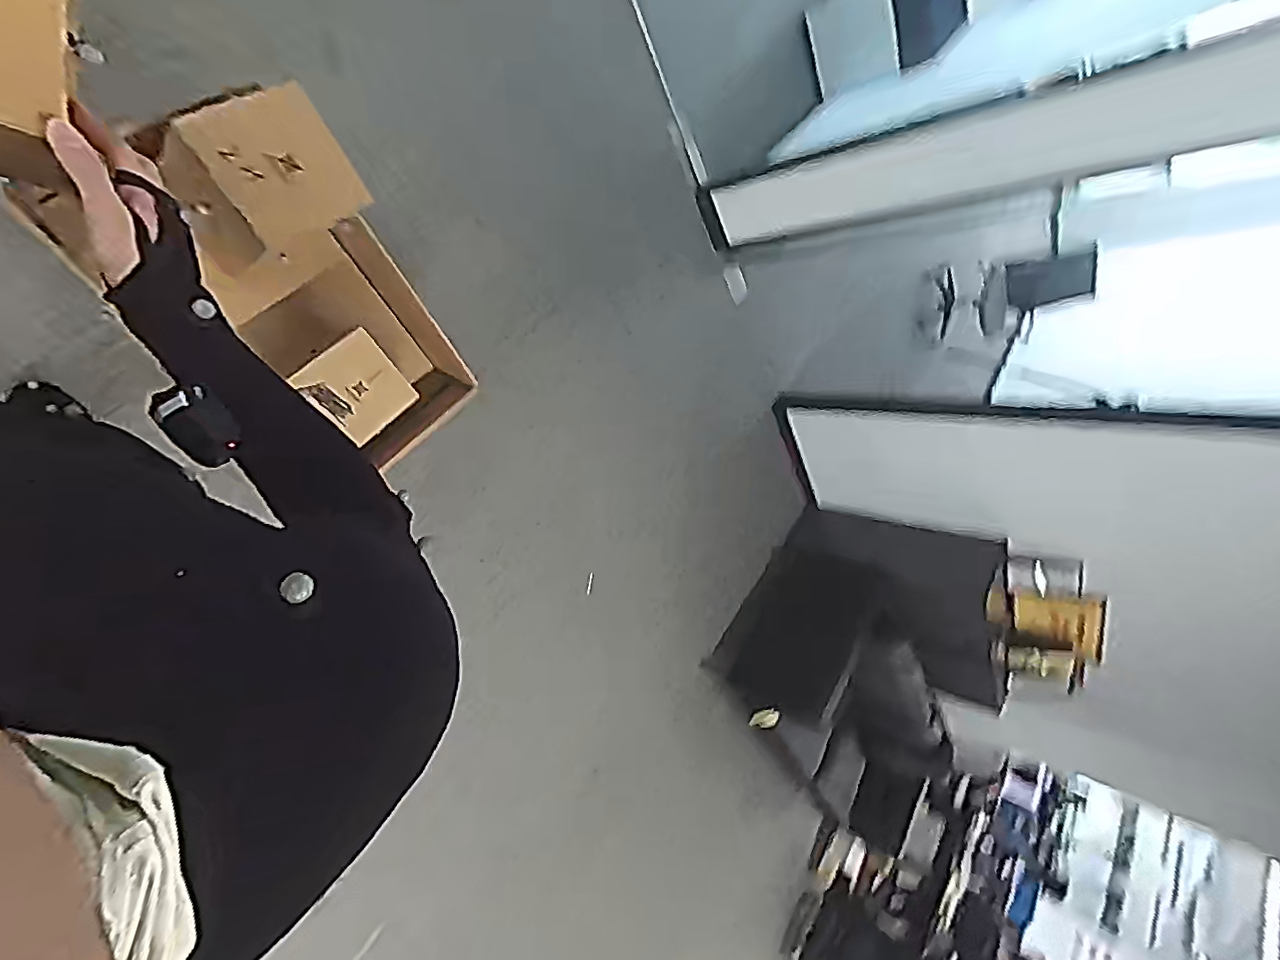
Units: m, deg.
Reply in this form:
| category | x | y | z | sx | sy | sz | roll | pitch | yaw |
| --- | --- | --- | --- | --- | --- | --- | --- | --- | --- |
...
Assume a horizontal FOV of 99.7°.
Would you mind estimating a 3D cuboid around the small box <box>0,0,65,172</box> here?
| category | x | y | z | sx | sy | sz | roll | pitch | yaw |
| --- | --- | --- | --- | --- | --- | --- | --- | --- | --- |
| small box | -0.508 | -0.341 | 0.362 | 0.168 | 0.176 | 0.179 | 0 | 101 | -47 |

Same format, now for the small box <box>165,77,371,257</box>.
| category | x | y | z | sx | sy | sz | roll | pitch | yaw |
| --- | --- | --- | --- | --- | --- | --- | --- | --- | --- |
| small box | -0.545 | -0.450 | 0.794 | 0.179 | 0.176 | 0.168 | -46 | 127 | -29 |

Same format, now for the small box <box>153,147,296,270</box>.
| category | x | y | z | sx | sy | sz | roll | pitch | yaw |
| --- | --- | --- | --- | --- | --- | --- | --- | --- | --- |
| small box | -0.662 | -0.474 | 0.906 | 0.179 | 0.176 | 0.168 | -48 | 129 | -28 |
